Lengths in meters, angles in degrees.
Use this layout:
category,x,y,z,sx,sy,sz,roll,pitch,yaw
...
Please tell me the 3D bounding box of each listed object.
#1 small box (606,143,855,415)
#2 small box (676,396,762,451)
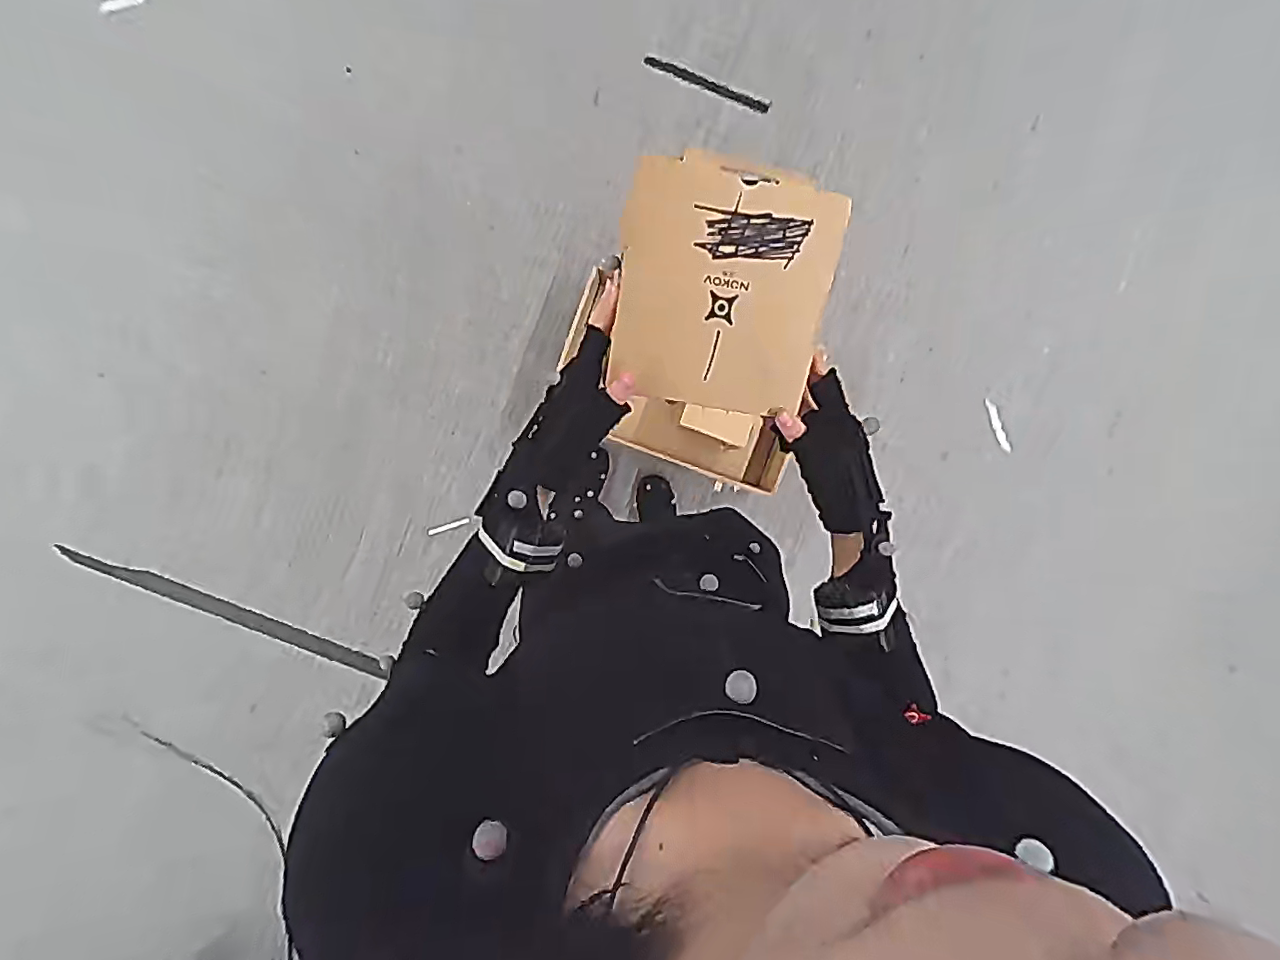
category,x,y,z,sx,sy,sz,roll,pitch,yaw
small box,0.061,-0.169,0.493,0.168,0.176,0.179,8,106,-7
small box,0.204,-0.180,1.389,0.179,0.176,0.168,20,91,-1
